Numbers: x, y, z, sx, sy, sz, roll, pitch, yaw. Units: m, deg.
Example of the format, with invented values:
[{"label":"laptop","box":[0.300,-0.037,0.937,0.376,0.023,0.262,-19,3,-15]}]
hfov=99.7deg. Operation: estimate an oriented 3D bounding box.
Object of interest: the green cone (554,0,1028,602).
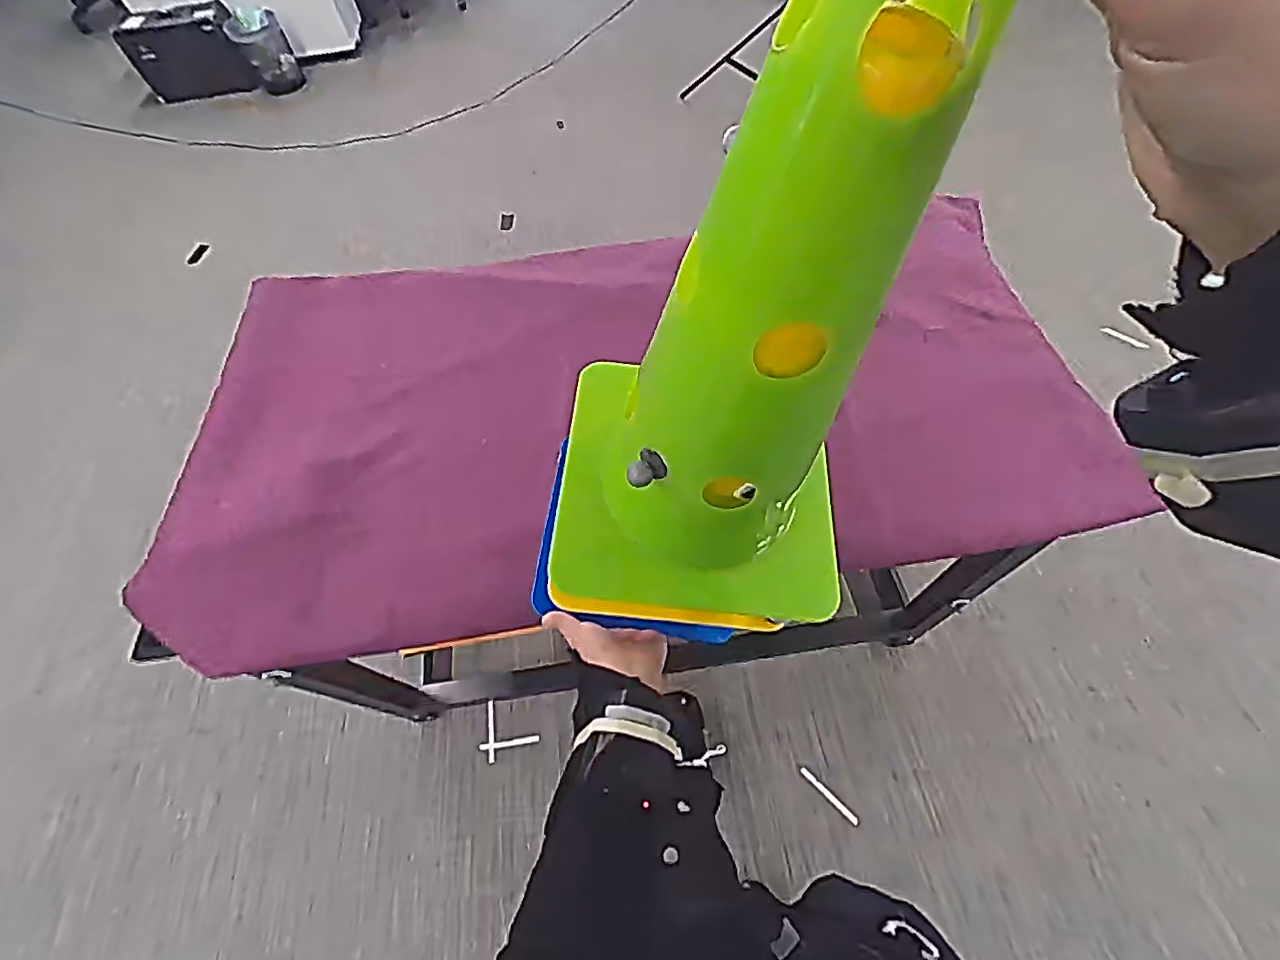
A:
[{"label":"green cone","box":[0.063,-0.095,0.247,0.200,0.368,0.202,6,62,-3]}]
